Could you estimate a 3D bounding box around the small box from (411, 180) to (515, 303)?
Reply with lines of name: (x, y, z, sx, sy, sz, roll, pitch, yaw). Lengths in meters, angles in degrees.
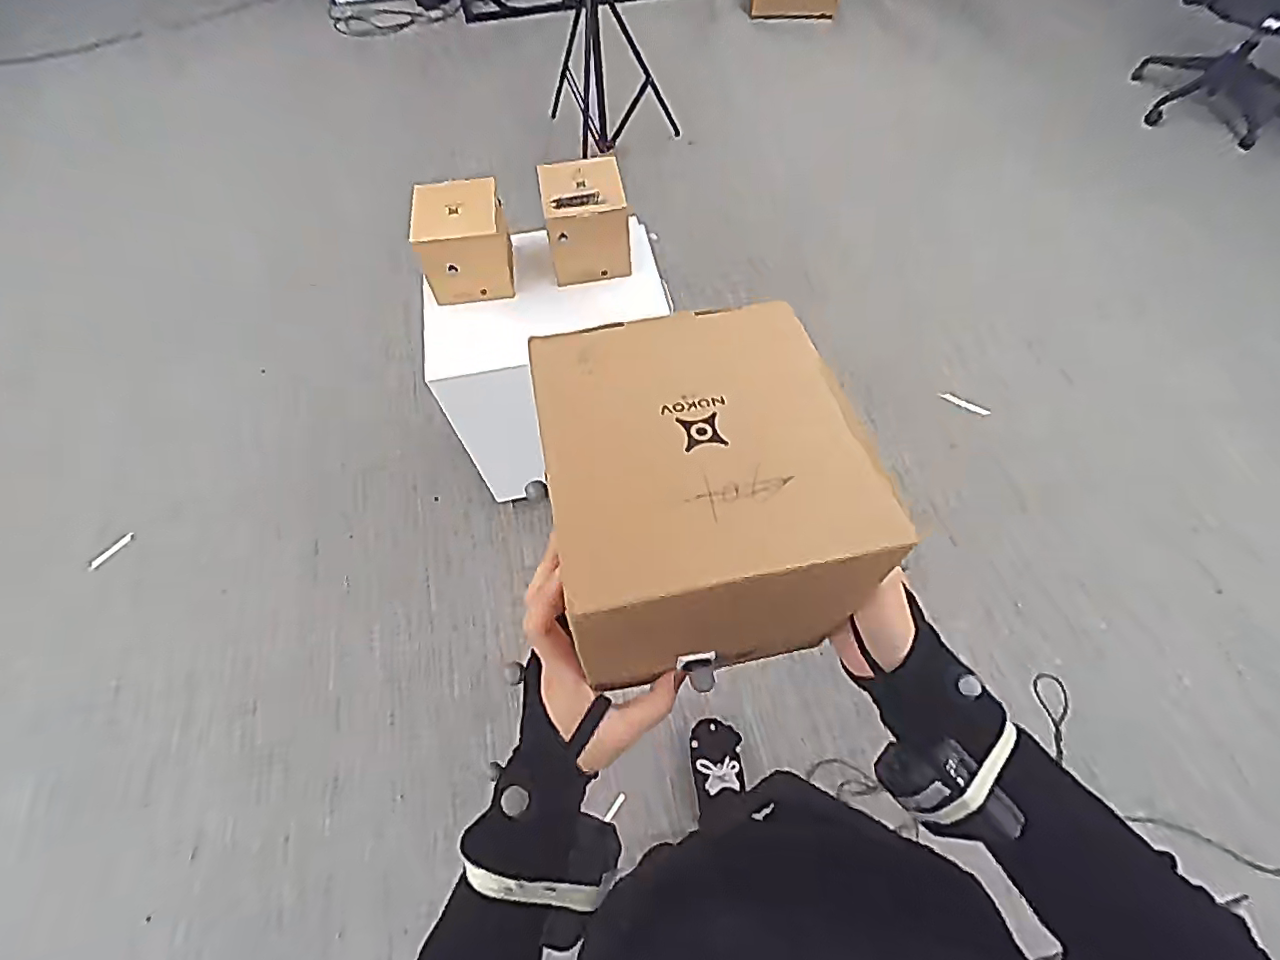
small box: (-0.362, -0.491, 1.135, 0.168, 0.176, 0.179, -8, 62, -3)

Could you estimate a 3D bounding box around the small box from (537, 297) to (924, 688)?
small box: (0.034, 0.013, 0.350, 0.168, 0.176, 0.179, -11, 58, -7)
